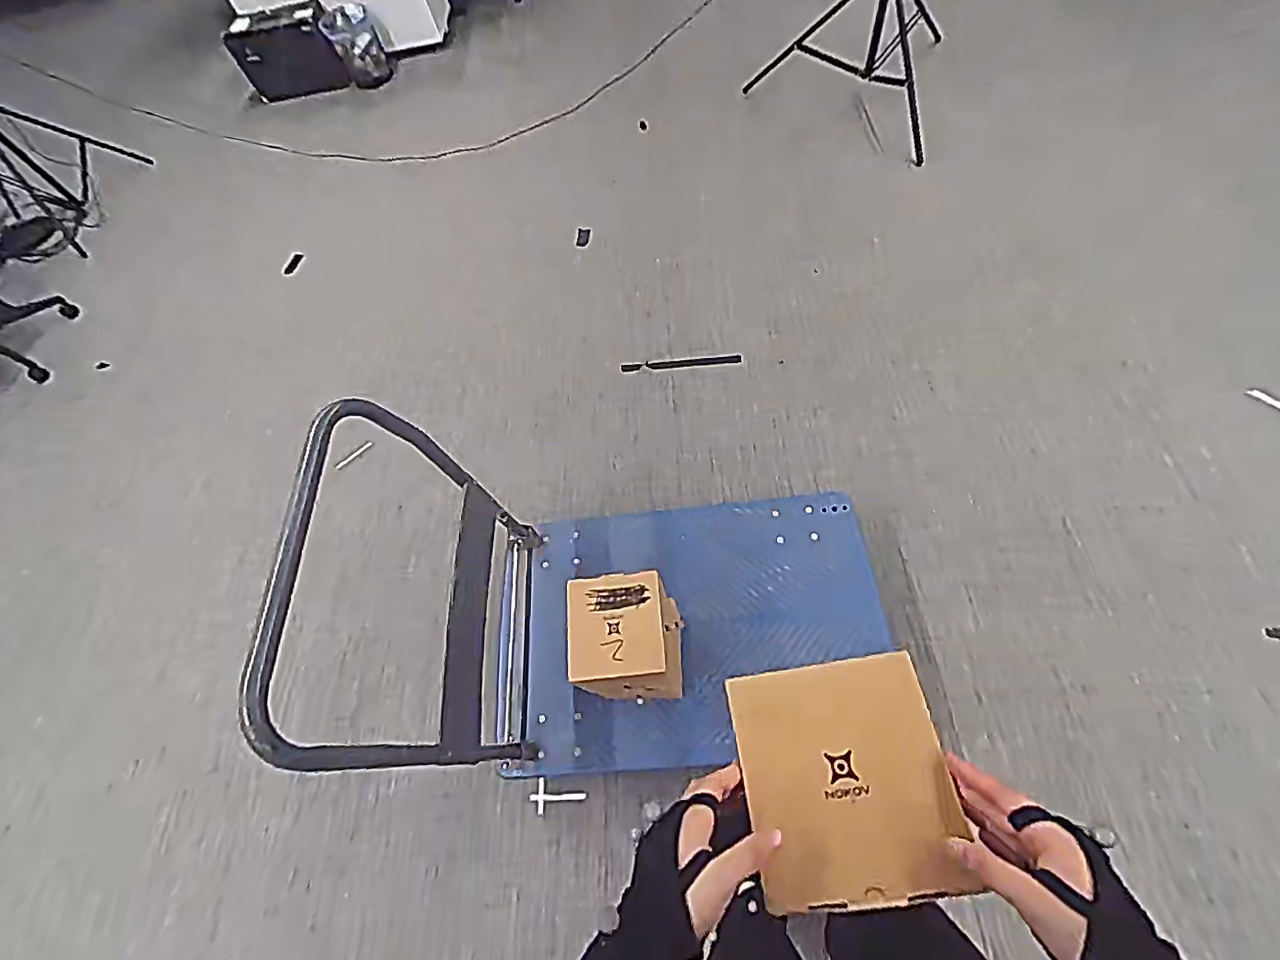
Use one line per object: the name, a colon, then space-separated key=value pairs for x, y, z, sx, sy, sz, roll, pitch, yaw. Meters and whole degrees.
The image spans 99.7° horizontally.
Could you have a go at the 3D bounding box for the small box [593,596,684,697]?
small box: x=0.003 y=0.353 z=1.134 sx=0.168 sy=0.176 sz=0.179 roll=-4 pitch=62 yaw=8
